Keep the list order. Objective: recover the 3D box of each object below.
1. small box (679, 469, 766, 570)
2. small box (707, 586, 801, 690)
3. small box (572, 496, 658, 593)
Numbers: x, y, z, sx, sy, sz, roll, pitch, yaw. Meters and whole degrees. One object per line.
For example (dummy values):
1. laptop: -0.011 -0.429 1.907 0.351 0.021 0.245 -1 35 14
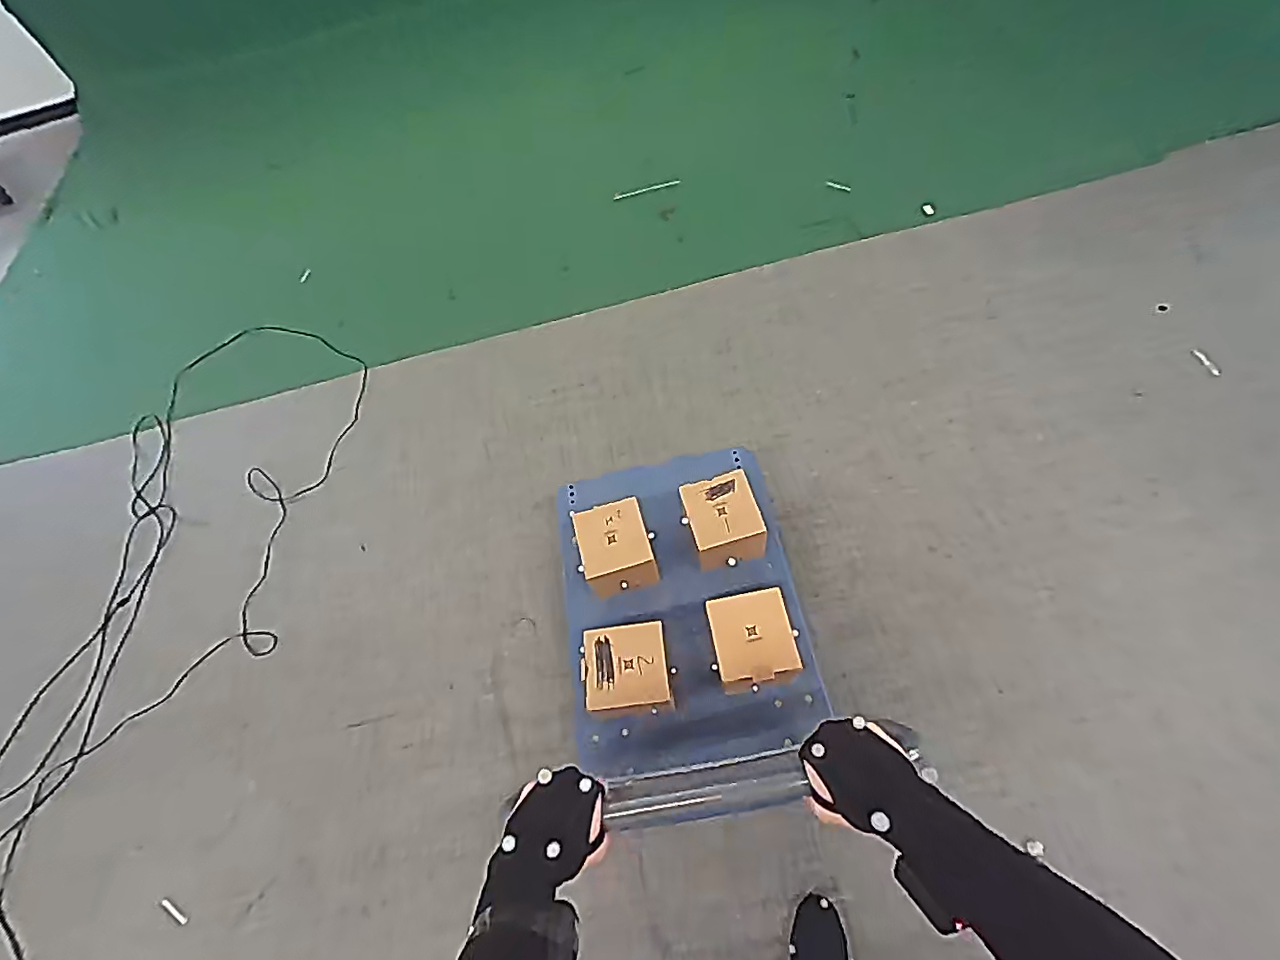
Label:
1. small box: 0.203 0.102 1.354 0.168 0.176 0.179 -17 61 0
2. small box: 0.246 0.357 1.211 0.168 0.176 0.179 -12 62 2
3. small box: -0.058 0.170 1.356 0.168 0.176 0.179 -16 60 -1
